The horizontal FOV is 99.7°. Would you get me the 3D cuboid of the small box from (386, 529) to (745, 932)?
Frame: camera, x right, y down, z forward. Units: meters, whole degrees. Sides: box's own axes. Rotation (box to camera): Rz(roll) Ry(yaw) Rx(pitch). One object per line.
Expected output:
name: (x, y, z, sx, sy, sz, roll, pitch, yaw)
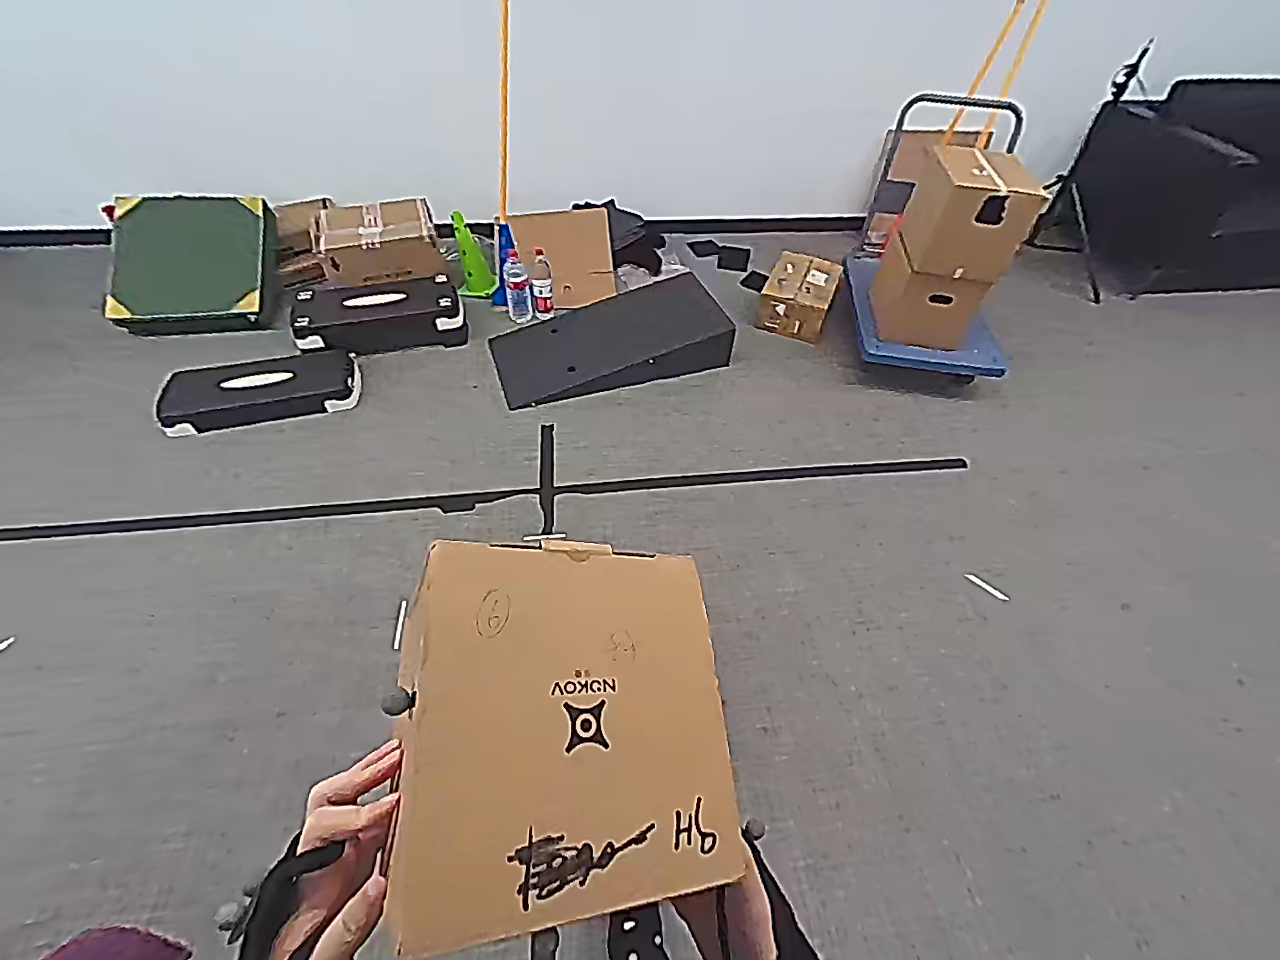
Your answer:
small box: (-0.061, 0.149, 0.346, 0.168, 0.176, 0.179, 7, 60, -25)
